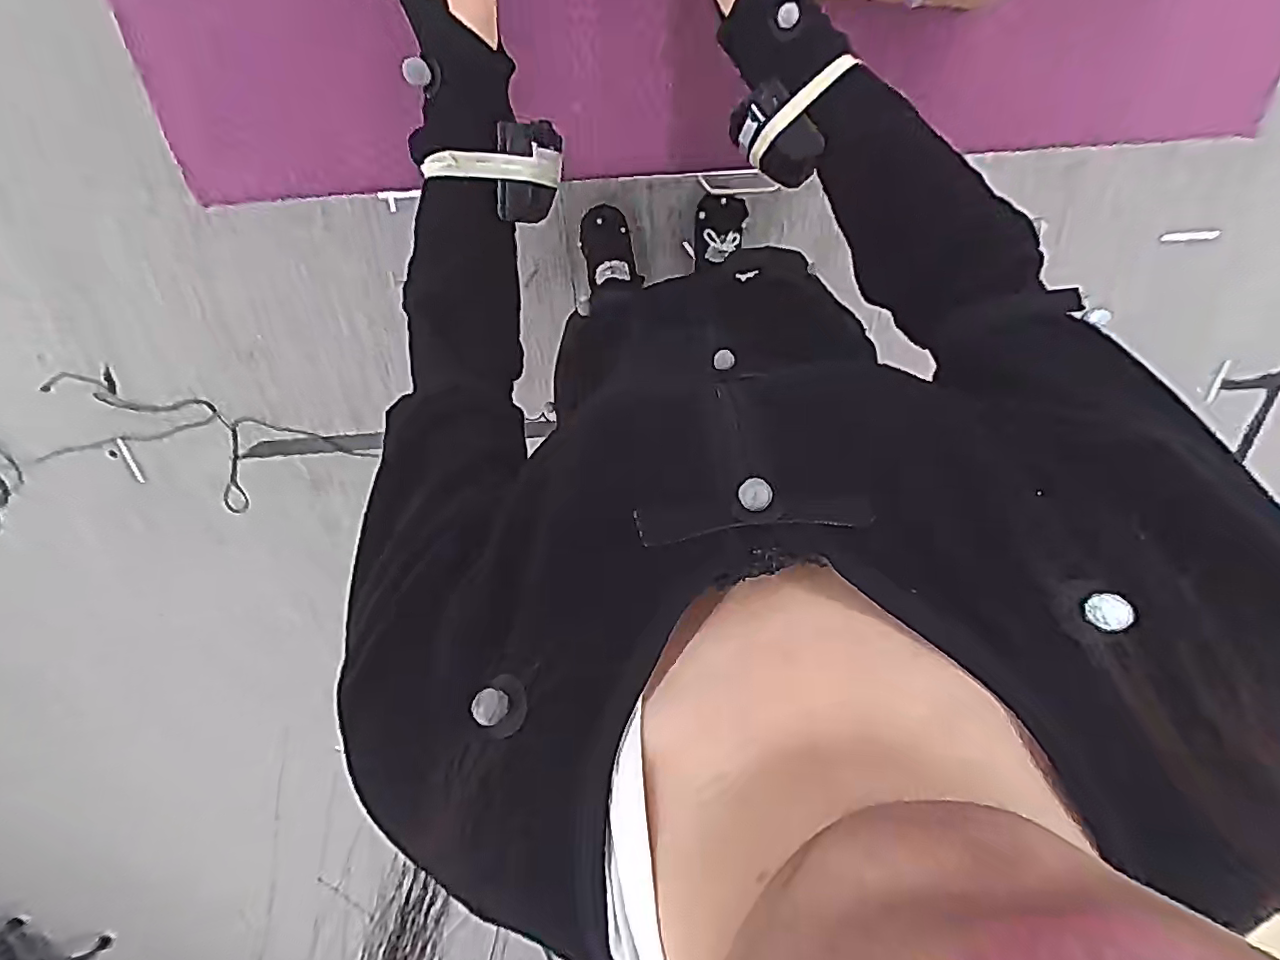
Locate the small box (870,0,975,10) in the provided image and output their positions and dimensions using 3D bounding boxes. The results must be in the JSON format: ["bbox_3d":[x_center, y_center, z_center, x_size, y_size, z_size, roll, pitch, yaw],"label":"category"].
[{"bbox_3d":[0.266,-0.527,0.440,0.168,0.176,0.179,1,118,-4],"label":"small box"}]
